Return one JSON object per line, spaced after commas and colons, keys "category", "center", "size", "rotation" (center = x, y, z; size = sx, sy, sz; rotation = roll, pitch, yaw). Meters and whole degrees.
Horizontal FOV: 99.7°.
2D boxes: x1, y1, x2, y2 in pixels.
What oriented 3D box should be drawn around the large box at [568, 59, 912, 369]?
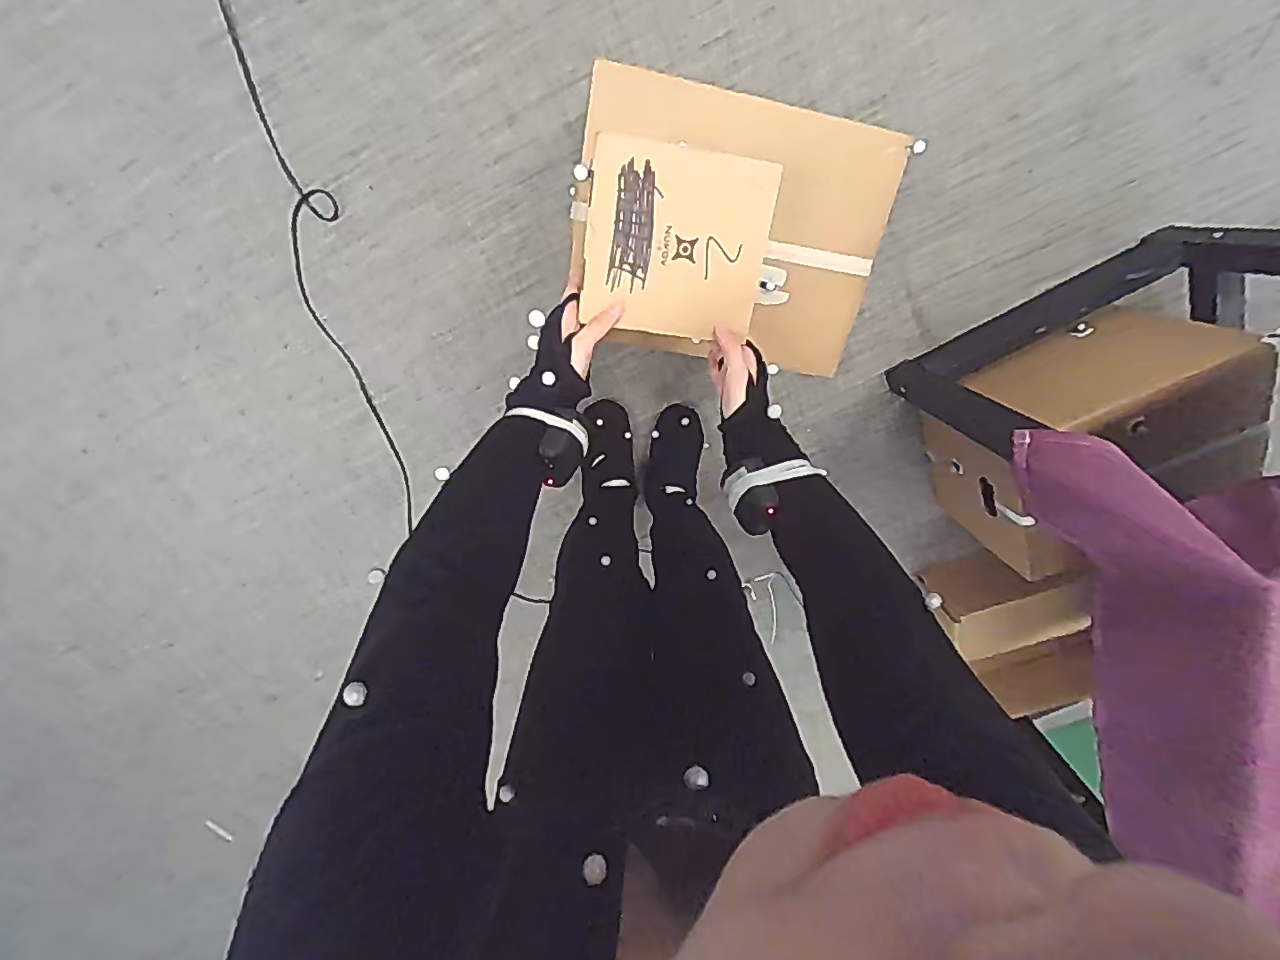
{"category": "large box", "center": [0.105, -0.386, 0.834], "size": [0.408, 0.320, 0.320], "rotation": [7, 117, -9]}
